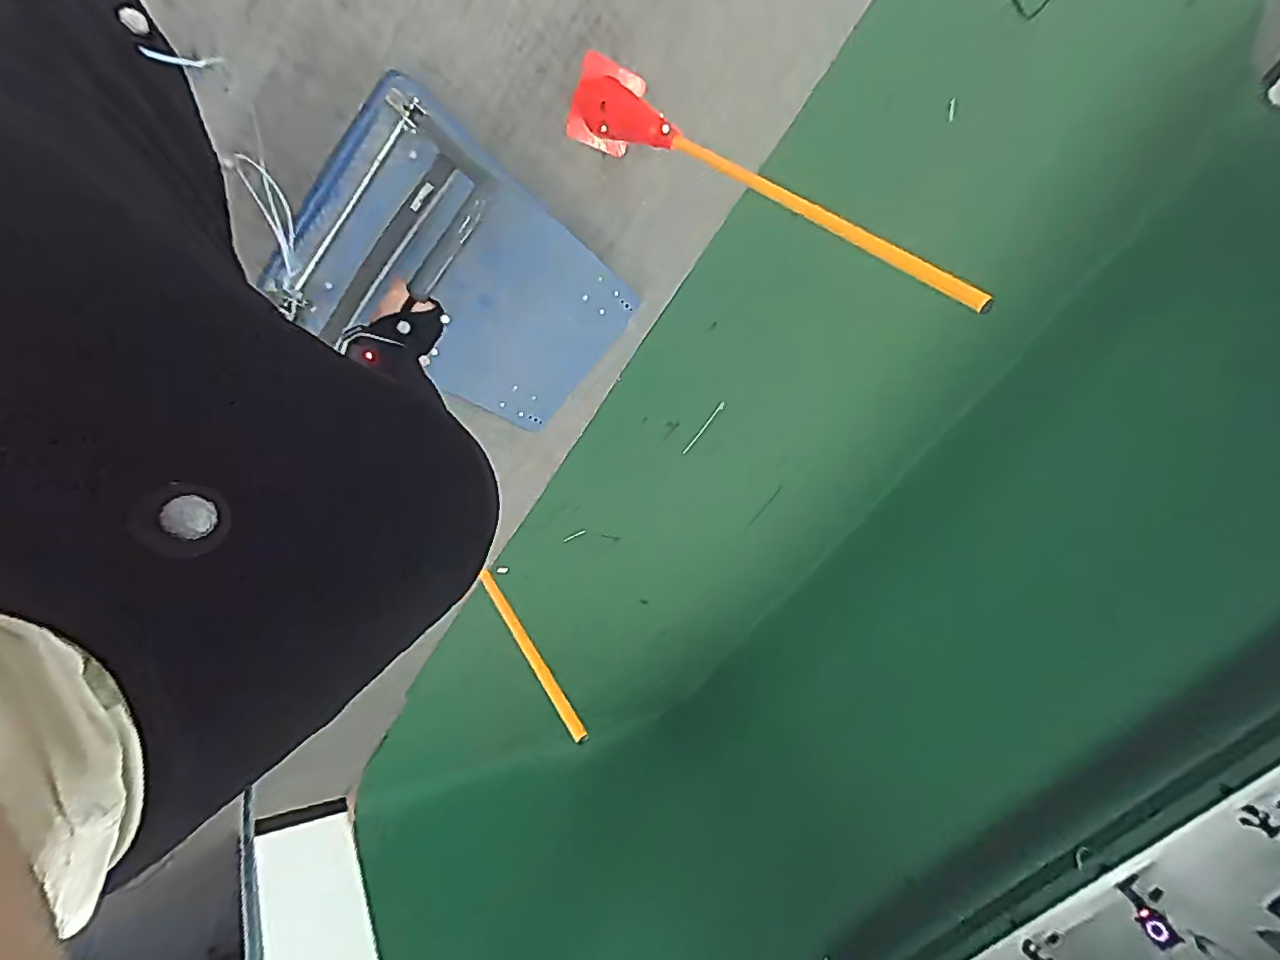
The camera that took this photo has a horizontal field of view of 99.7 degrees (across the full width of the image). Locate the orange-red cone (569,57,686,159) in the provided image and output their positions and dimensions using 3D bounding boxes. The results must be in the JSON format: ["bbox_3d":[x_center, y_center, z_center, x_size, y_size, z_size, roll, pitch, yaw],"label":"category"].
[{"bbox_3d":[0.001,-0.901,1.371,0.198,0.360,0.199,-2,129,-40],"label":"orange-red cone"}]
